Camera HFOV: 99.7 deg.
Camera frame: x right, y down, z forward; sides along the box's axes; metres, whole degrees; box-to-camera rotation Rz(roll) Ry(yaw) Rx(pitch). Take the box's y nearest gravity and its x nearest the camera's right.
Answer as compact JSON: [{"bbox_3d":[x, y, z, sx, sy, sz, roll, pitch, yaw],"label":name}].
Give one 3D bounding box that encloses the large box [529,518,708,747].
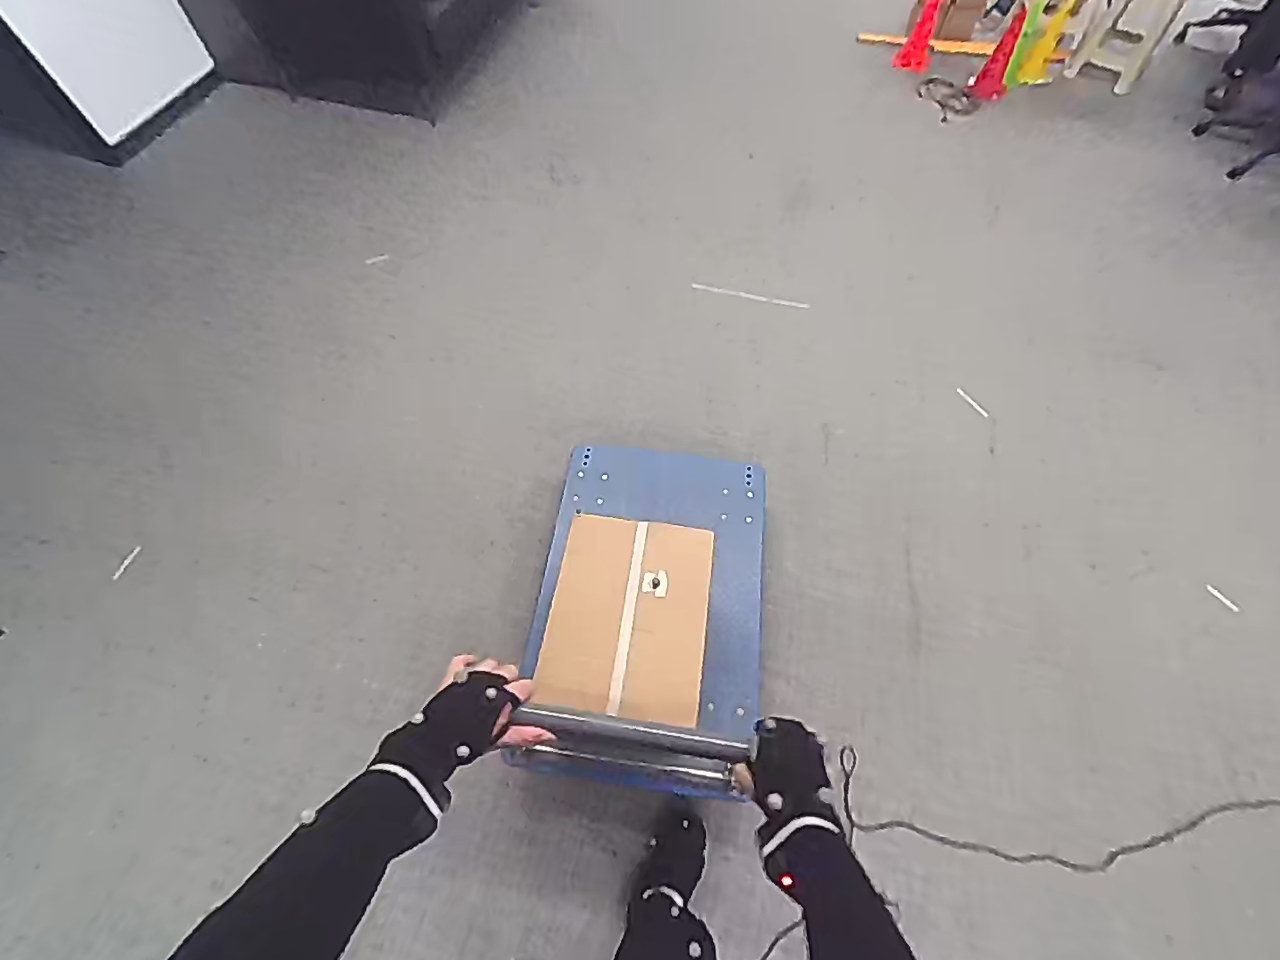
[{"bbox_3d":[-0.030,0.348,1.214,0.320,0.320,0.408,8,59,4],"label":"large box"}]
